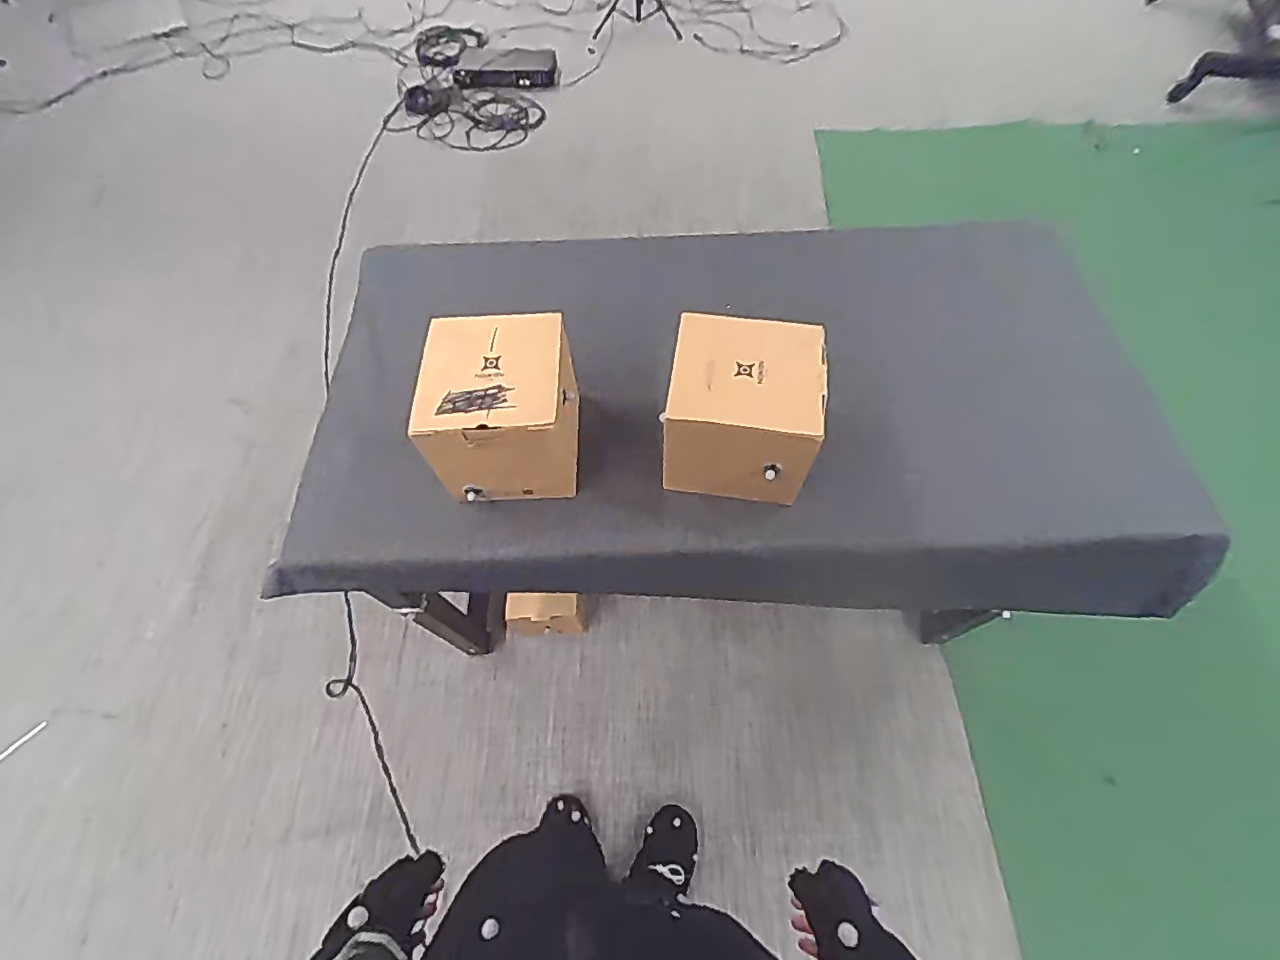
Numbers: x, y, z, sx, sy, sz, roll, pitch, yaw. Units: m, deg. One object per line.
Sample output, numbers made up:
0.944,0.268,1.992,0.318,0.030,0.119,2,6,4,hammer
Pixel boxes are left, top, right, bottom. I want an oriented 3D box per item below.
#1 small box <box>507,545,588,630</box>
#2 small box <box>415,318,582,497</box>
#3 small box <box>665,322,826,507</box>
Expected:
-0.222,0.274,1.347,0.168,0.176,0.179,-2,62,1,small box
-0.168,-0.086,0.709,0.168,0.176,0.179,-1,60,0,small box
0.131,-0.078,0.700,0.179,0.176,0.168,7,61,6,small box
